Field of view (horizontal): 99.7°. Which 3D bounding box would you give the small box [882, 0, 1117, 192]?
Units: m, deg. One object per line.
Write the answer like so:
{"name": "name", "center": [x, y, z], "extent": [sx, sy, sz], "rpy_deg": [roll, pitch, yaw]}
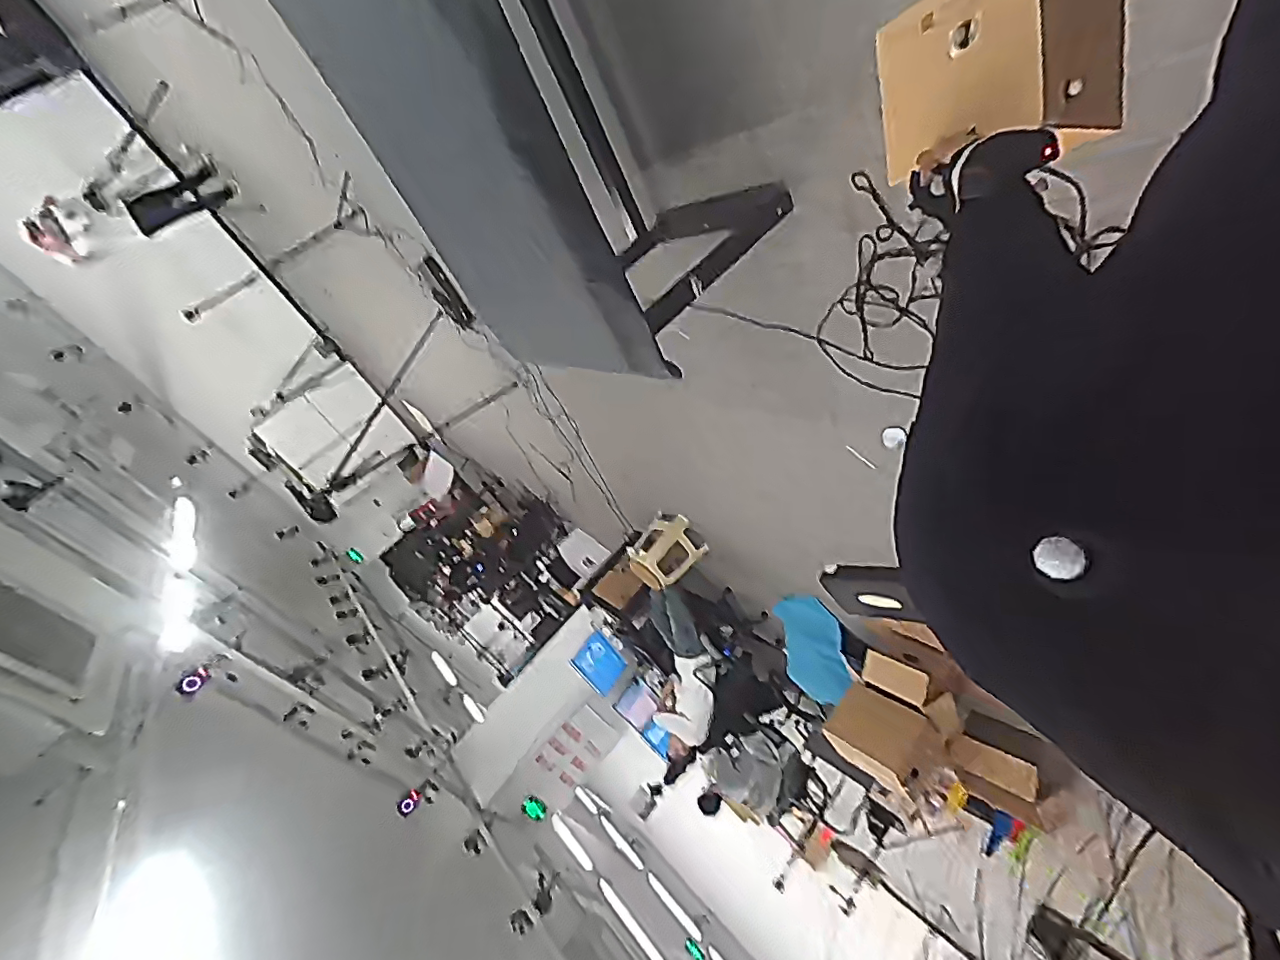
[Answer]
{"name": "small box", "center": [0.398, -0.444, 0.603], "extent": [0.168, 0.179, 0.176], "rpy_deg": [12, 118, 60]}
